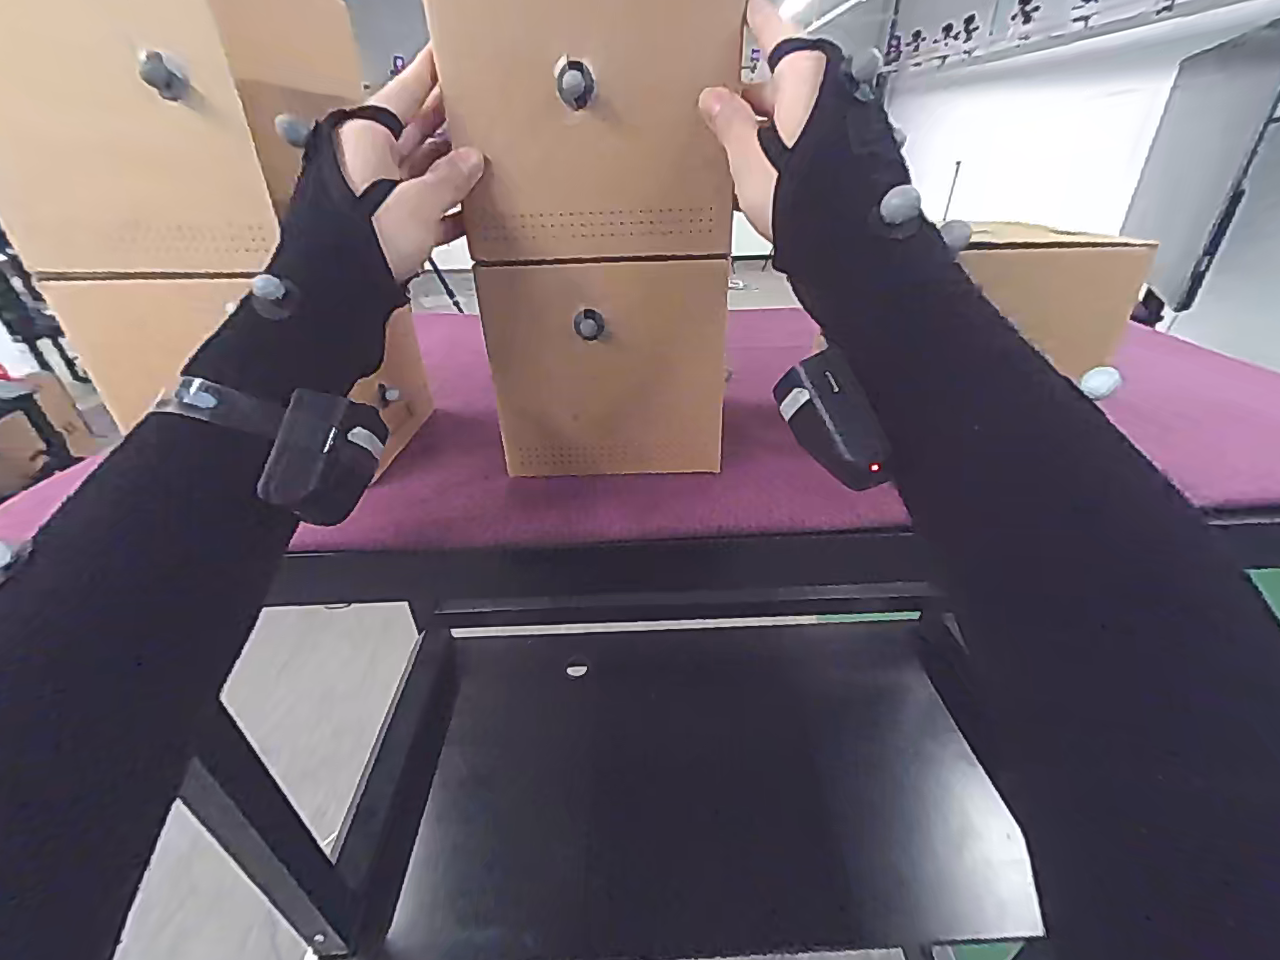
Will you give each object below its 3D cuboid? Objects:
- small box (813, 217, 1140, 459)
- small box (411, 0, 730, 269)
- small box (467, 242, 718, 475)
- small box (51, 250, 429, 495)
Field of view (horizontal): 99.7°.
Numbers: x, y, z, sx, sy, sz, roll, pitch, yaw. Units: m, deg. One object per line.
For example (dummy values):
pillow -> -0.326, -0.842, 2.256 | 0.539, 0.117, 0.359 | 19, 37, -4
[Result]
small box -> 0.257, -0.125, 0.471 | 0.179, 0.176, 0.168 | -2, 31, 3
small box -> -0.033, -0.254, 0.387 | 0.179, 0.176, 0.168 | -3, 31, 2
small box -> -0.028, -0.113, 0.473 | 0.179, 0.176, 0.168 | -1, 31, 2
small box -> -0.309, -0.097, 0.468 | 0.179, 0.176, 0.168 | -1, 31, 0
